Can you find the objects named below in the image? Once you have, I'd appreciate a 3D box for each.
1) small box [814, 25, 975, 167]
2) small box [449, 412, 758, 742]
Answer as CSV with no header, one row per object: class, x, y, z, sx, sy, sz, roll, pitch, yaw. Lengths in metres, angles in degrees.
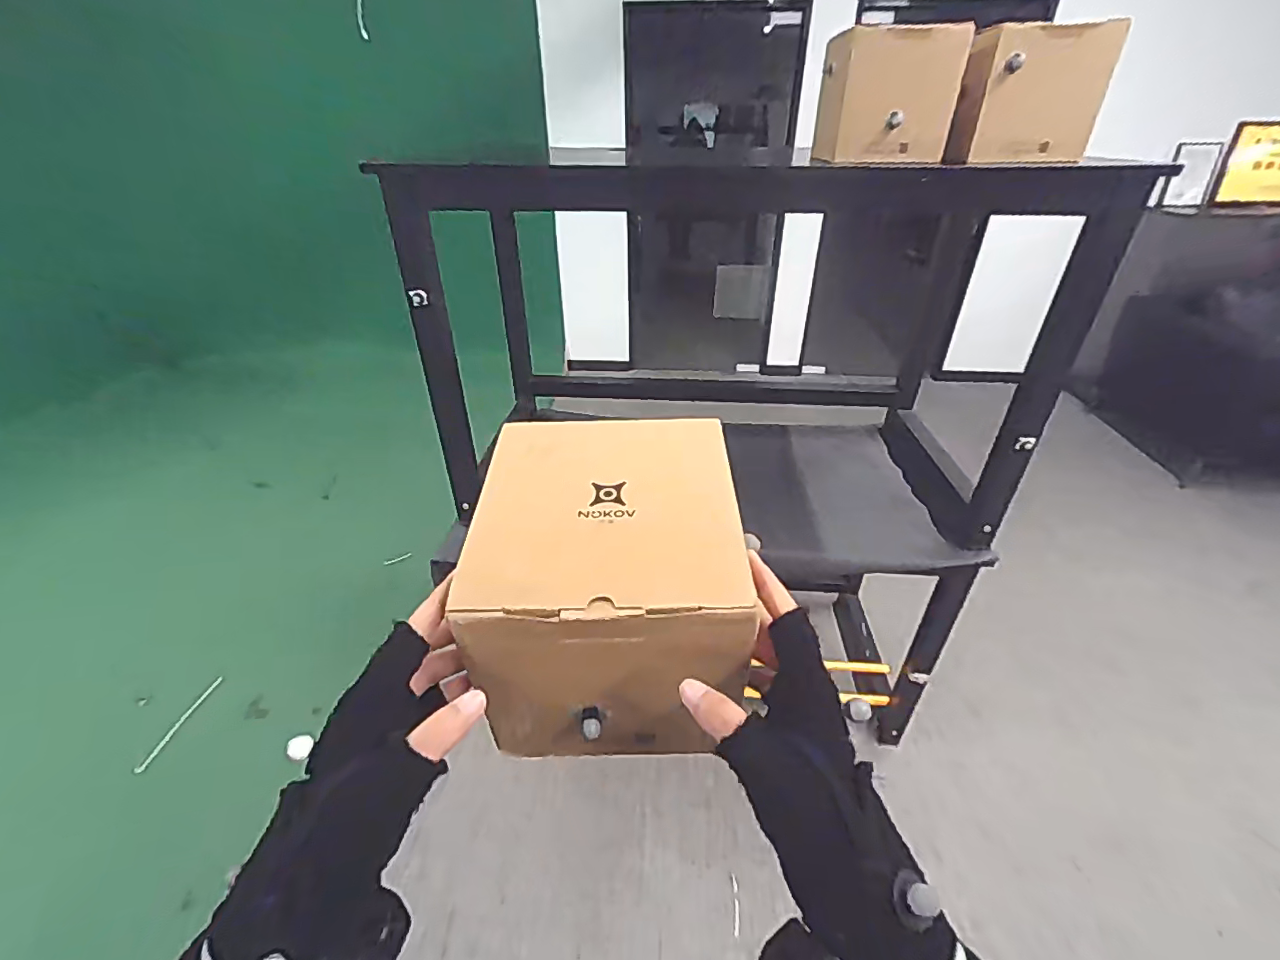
small box,0.387,-0.604,0.864,0.168,0.176,0.179,2,33,3
small box,-0.019,0.066,0.396,0.168,0.176,0.179,-1,40,0
